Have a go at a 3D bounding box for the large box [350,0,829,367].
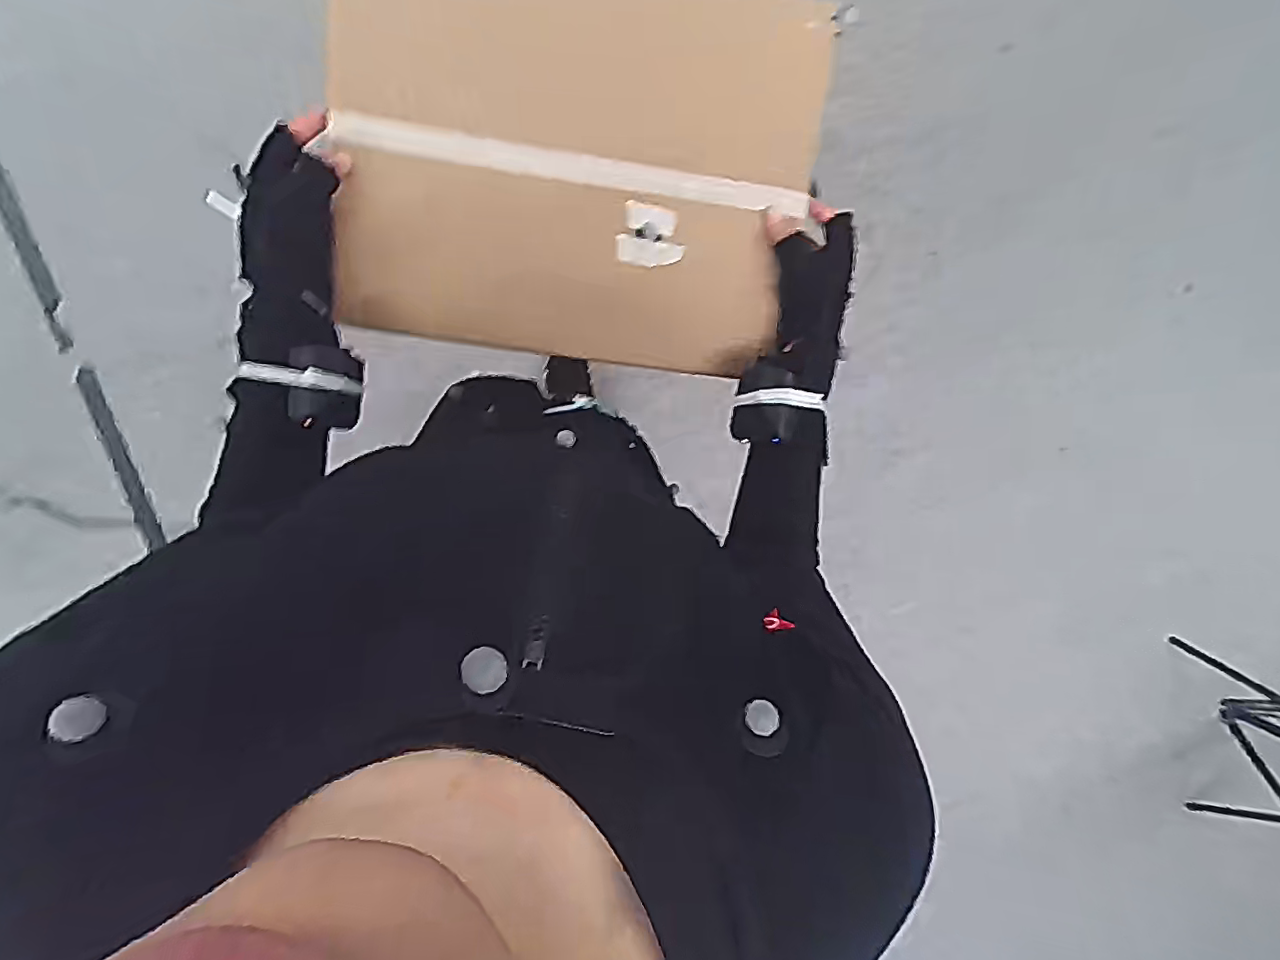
[{"bbox_3d":[-0.064,-0.313,0.622,0.408,0.320,0.320,6,105,-8],"label":"large box"}]
